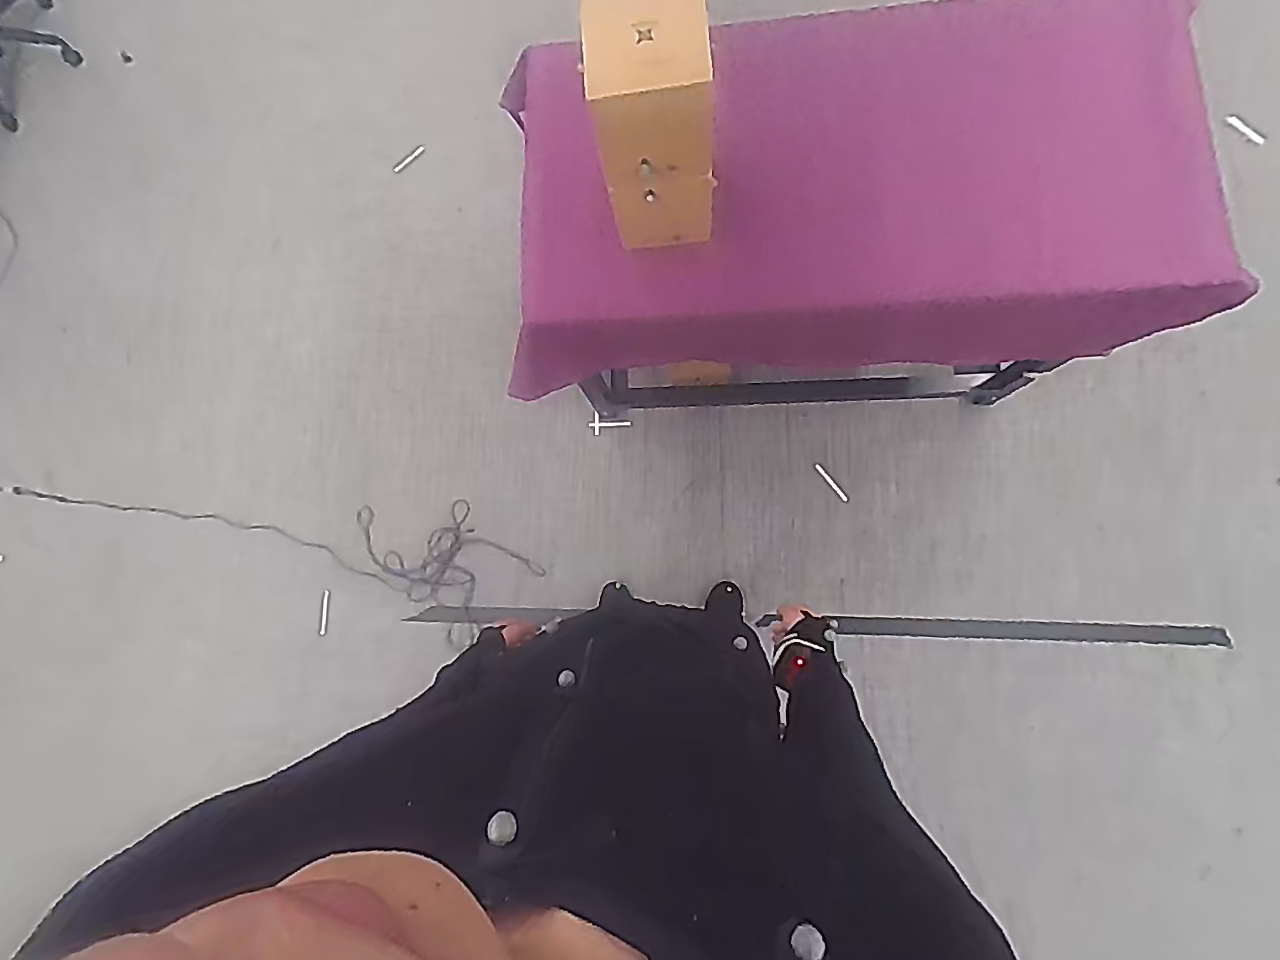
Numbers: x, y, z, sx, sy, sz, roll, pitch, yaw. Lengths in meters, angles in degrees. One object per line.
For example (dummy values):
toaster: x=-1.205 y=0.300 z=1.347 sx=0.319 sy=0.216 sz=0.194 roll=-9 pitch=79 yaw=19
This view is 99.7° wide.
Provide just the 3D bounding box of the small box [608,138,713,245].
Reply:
small box: x=0.037 y=-0.539 z=0.935 sx=0.168 sy=0.176 sz=0.179 roll=-3 pitch=80 yaw=6

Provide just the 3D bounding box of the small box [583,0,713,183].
small box: x=0.014 y=-0.567 z=0.775 sx=0.168 sy=0.176 sz=0.179 roll=-4 pitch=81 yaw=6
